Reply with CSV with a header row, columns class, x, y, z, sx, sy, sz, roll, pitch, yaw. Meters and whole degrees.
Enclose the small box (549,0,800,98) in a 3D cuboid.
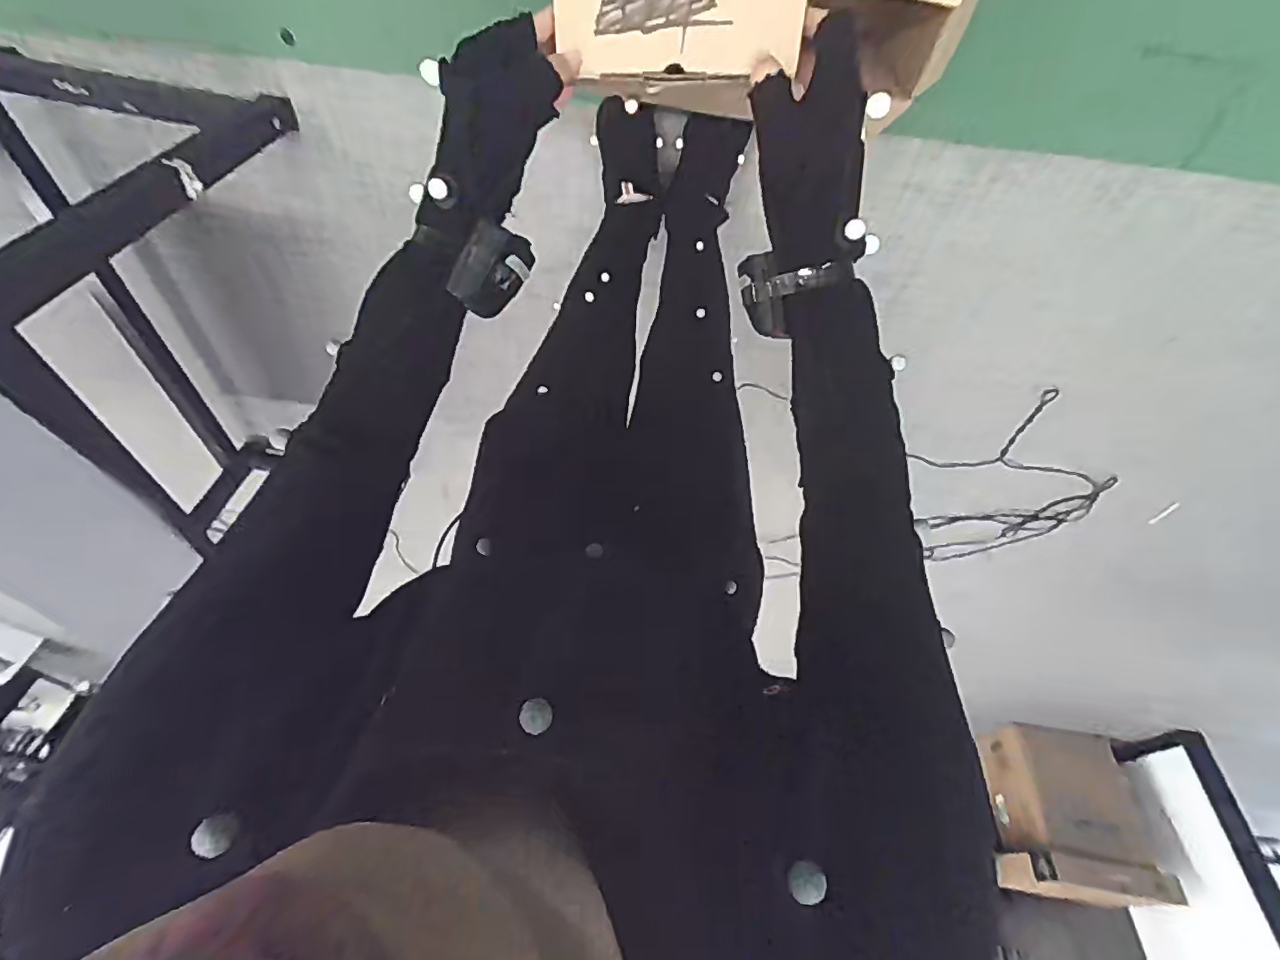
class,x,y,z,sx,sy,sz,roll,pitch,yaw
small box,0.034,-0.387,0.390,0.168,0.176,0.179,5,122,6
